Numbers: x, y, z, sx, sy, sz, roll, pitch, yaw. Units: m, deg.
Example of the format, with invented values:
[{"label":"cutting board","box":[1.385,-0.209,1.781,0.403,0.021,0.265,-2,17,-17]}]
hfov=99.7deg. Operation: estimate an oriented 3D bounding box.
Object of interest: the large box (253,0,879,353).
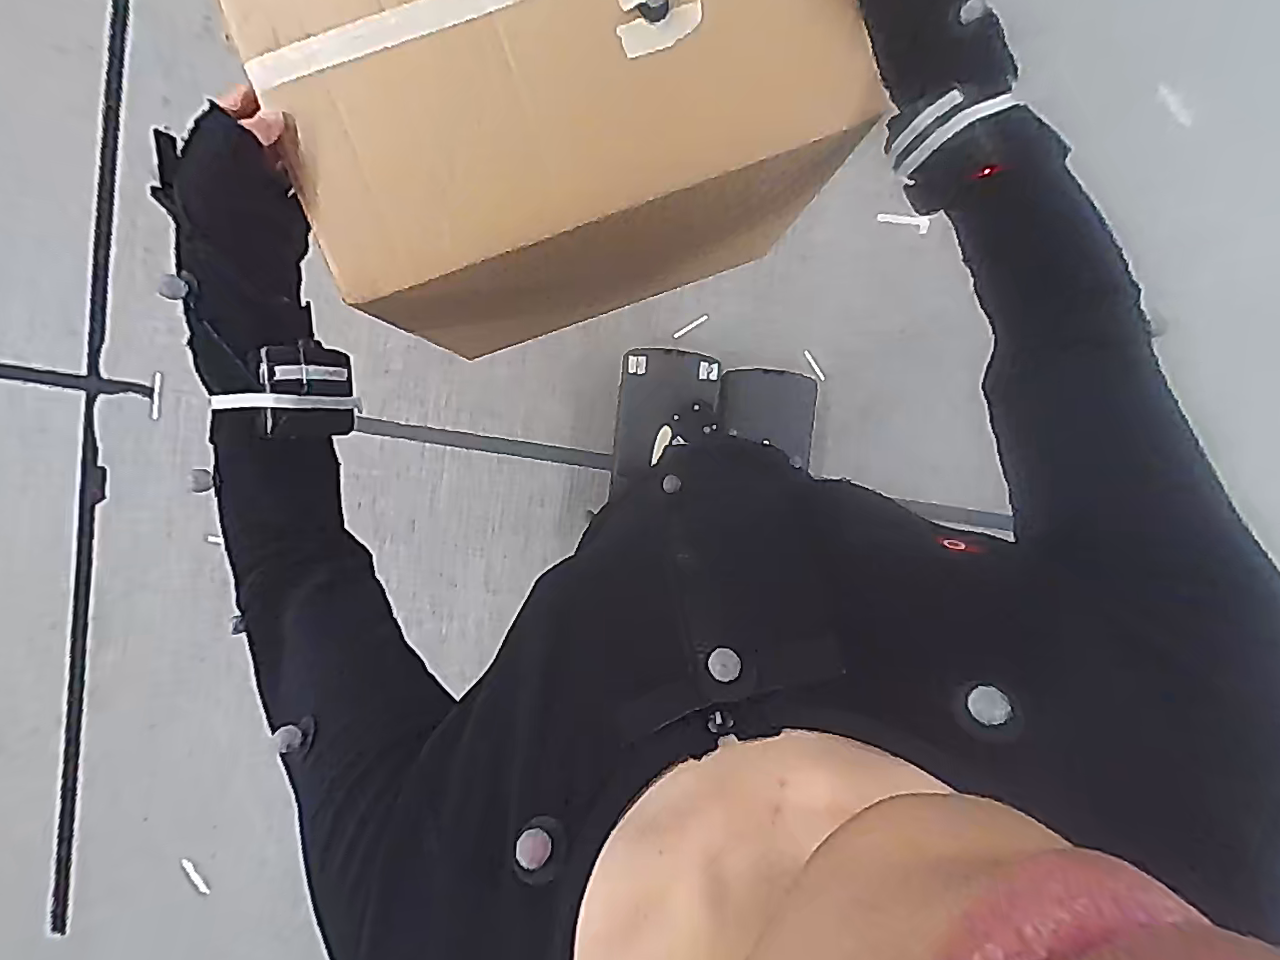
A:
[{"label":"large box","box":[-0.069,-0.356,0.525,0.408,0.320,0.320,-20,96,-1]}]

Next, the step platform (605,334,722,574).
[{"label":"step platform","box":[0.065,-0.072,1.576,0.286,0.204,0.684,5,92,-1]}]
